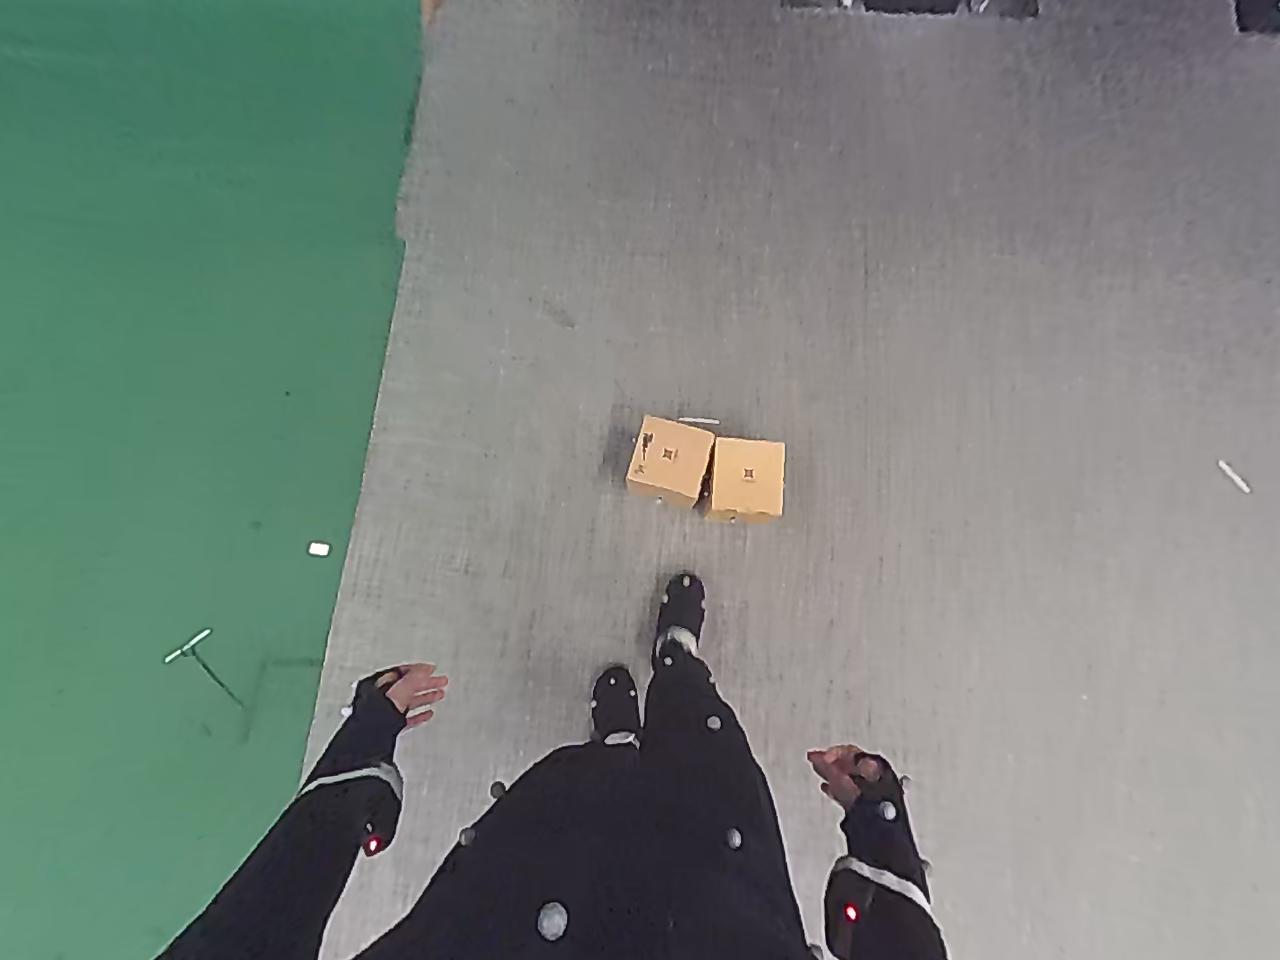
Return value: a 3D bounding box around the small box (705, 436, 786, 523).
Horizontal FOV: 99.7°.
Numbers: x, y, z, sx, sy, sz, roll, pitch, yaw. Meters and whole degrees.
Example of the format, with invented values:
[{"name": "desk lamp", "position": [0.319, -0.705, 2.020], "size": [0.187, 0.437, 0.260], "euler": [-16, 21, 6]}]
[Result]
[{"name": "small box", "position": [0.254, 0.003, 1.335], "size": [0.168, 0.176, 0.179], "euler": [5, 79, 1]}]
